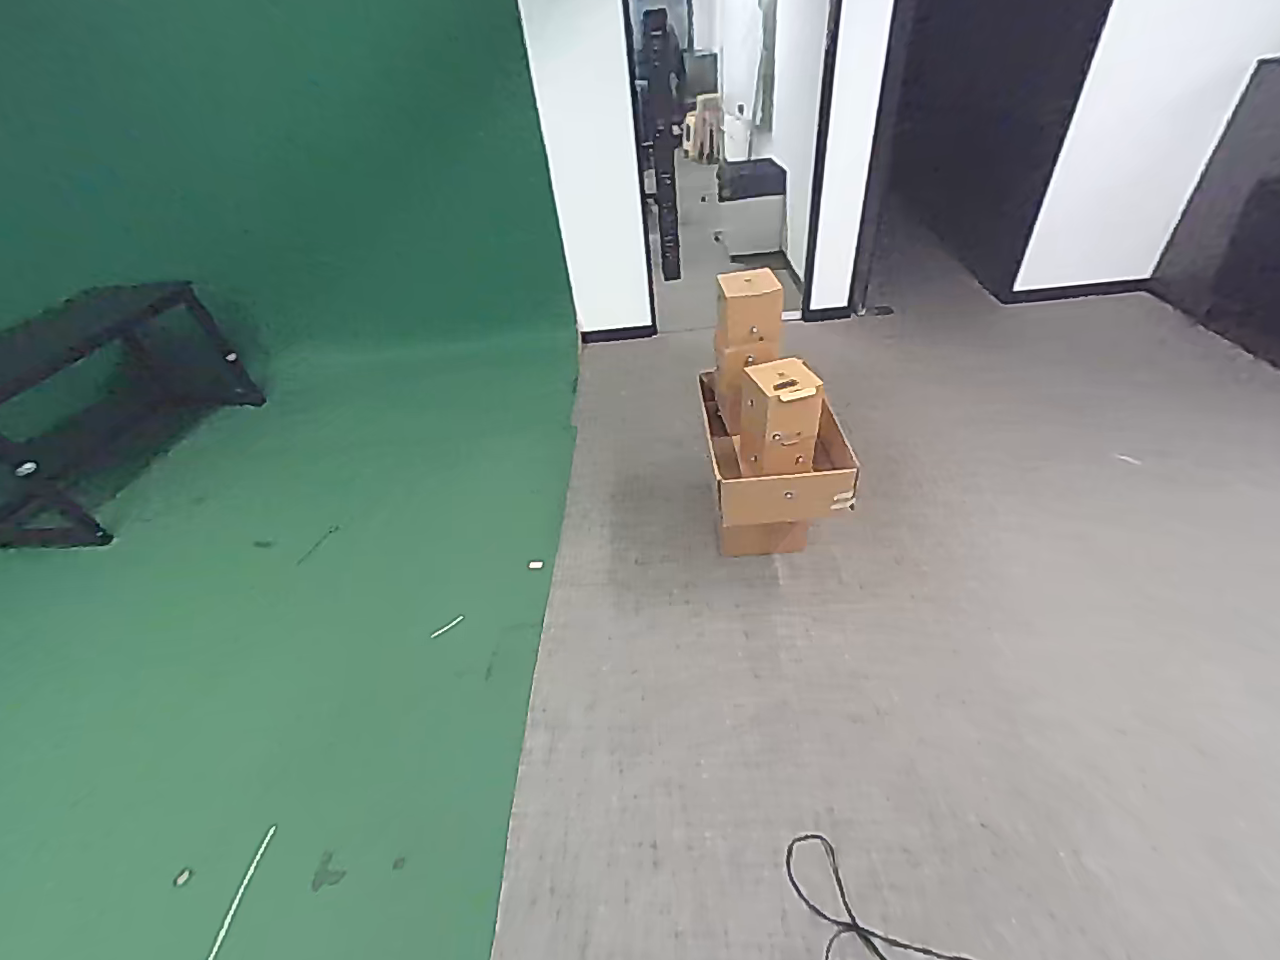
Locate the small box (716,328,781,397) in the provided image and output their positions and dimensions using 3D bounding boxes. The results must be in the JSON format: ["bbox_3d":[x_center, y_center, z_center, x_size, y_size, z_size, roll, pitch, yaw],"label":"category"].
[{"bbox_3d":[0.347,-0.393,1.764,0.179,0.176,0.168,-9,41,0],"label":"small box"}]

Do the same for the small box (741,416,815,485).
[{"bbox_3d":[0.419,-0.101,1.669,0.168,0.176,0.179,-13,40,-7],"label":"small box"}]

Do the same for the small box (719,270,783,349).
[{"bbox_3d":[0.335,-0.524,1.664,0.168,0.176,0.179,-8,42,2],"label":"small box"}]

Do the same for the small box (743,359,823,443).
[{"bbox_3d":[0.405,-0.223,1.560,0.168,0.176,0.179,-13,40,-8],"label":"small box"}]
